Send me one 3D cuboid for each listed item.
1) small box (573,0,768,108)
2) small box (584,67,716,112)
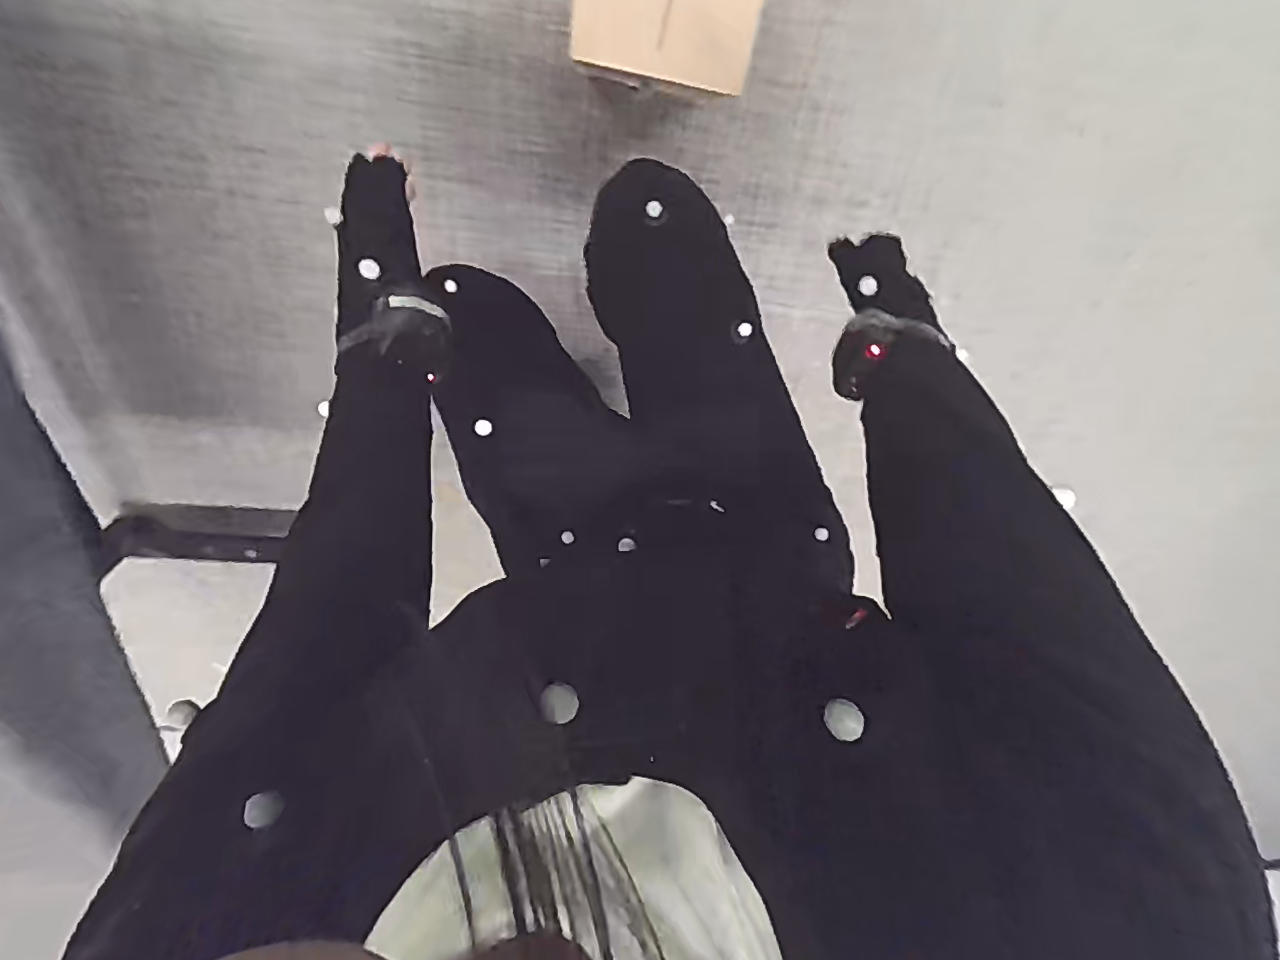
[{"bbox_3d":[0.033,-0.485,0.526,0.168,0.176,0.179,10,125,-7],"label":"small box"},{"bbox_3d":[0.028,-0.576,0.664,0.168,0.176,0.179,9,125,-7],"label":"small box"}]
